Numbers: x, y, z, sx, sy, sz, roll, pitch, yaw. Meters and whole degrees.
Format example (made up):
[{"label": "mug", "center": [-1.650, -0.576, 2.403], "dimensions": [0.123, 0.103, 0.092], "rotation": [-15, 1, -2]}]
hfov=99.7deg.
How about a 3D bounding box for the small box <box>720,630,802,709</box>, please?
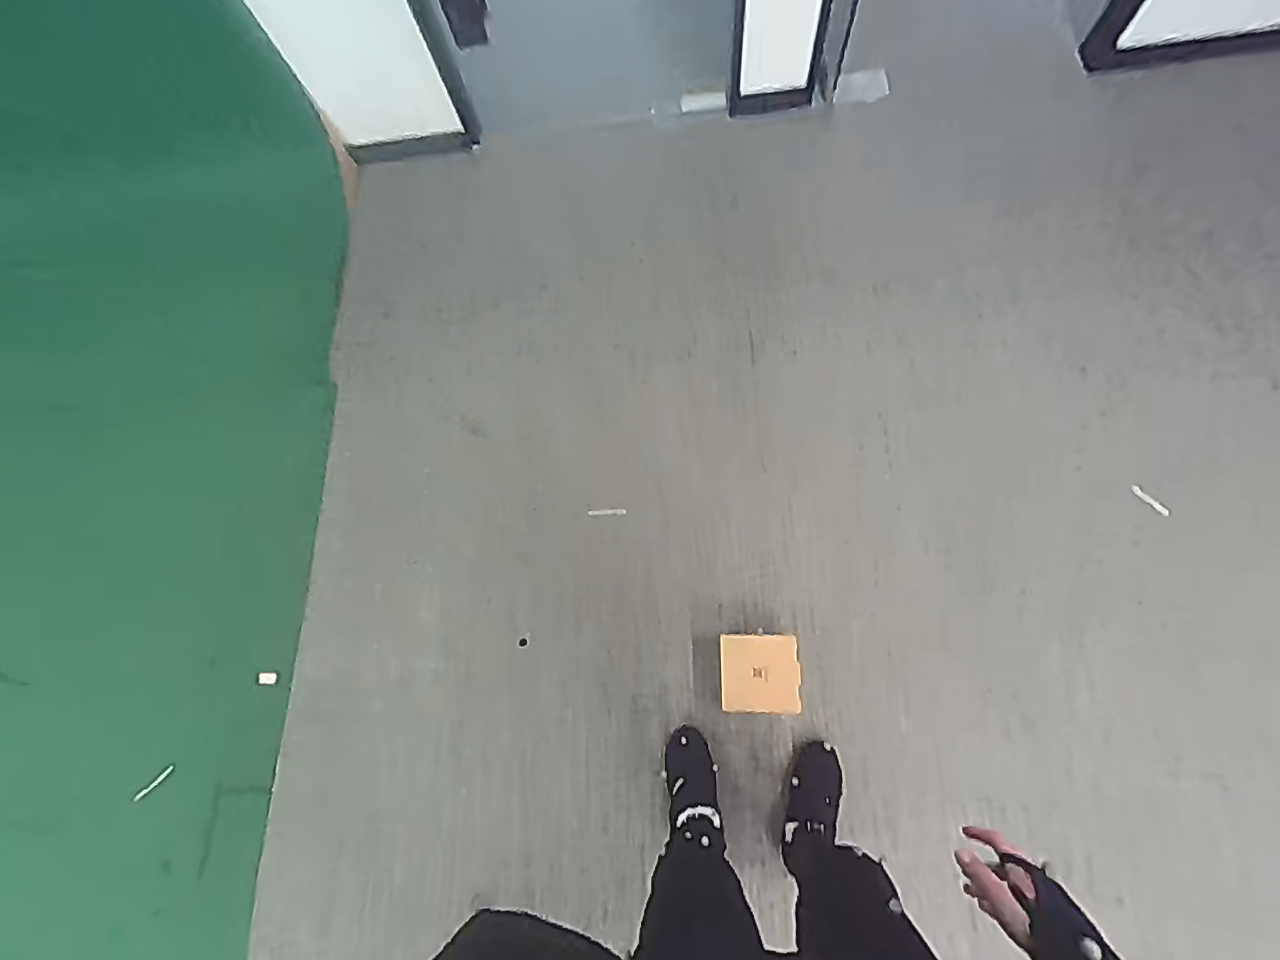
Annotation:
[{"label": "small box", "center": [0.279, 0.448, 1.284], "dimensions": [0.179, 0.176, 0.168], "rotation": [-1, 72, 6]}]
